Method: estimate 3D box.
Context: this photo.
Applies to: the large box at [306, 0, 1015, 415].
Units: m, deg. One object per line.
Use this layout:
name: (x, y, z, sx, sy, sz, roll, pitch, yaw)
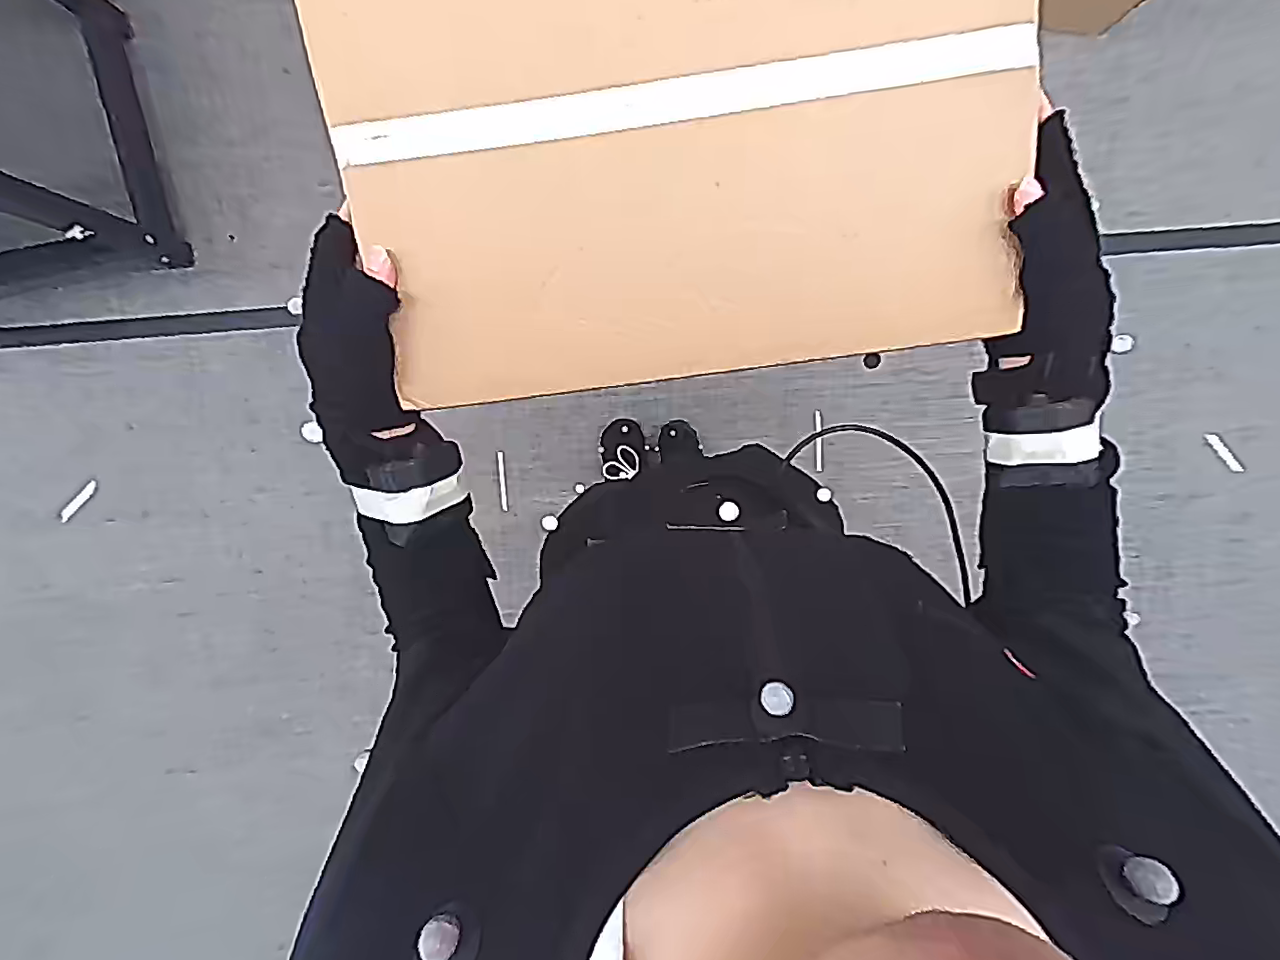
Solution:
large box: (0.019, -0.259, 0.464, 0.408, 0.320, 0.320, -7, 105, 2)
